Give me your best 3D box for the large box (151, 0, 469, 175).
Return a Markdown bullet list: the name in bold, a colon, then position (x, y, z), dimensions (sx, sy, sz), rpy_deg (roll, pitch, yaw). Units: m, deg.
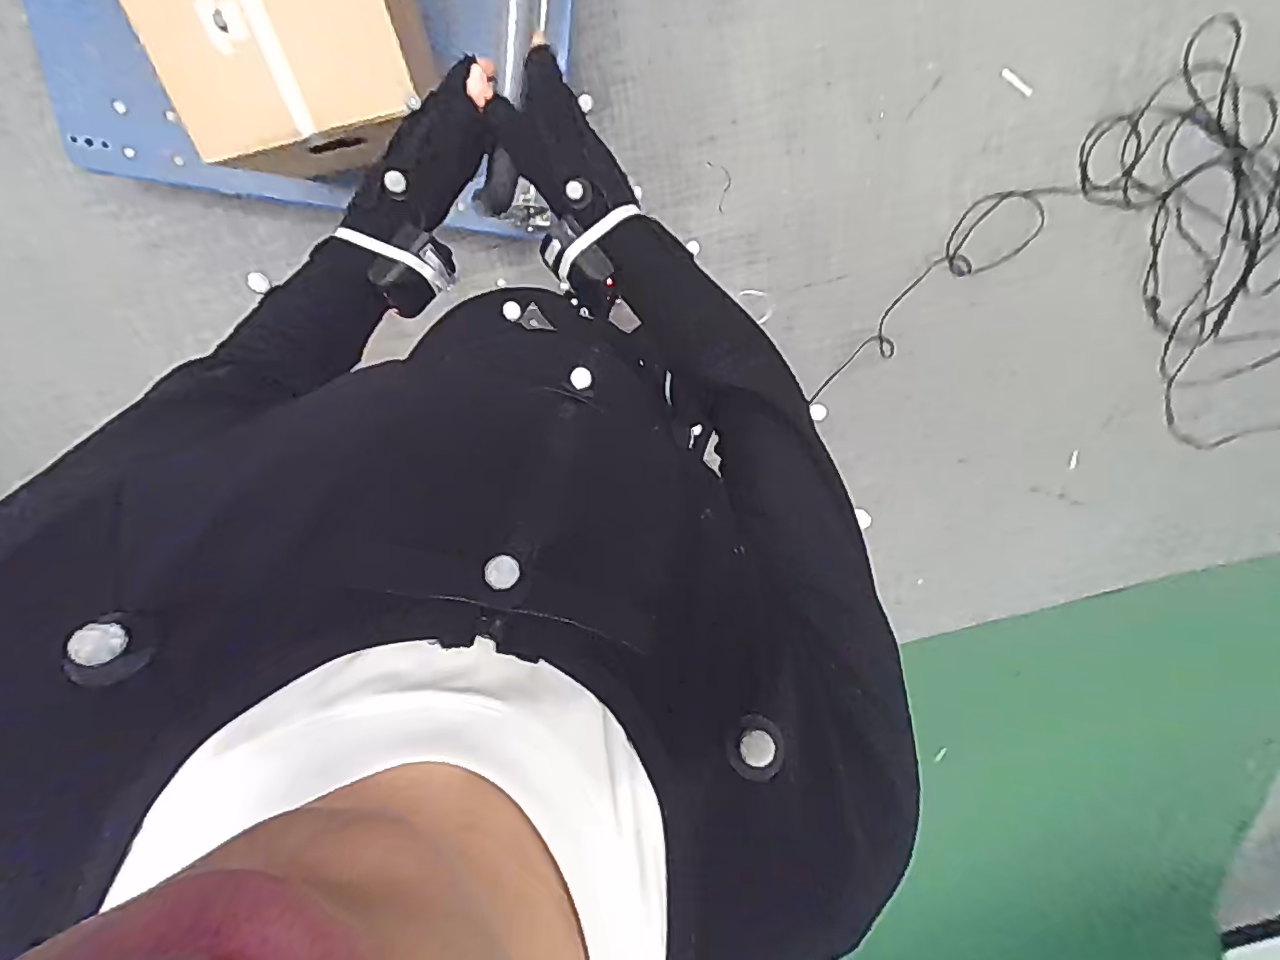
- **large box**: position (-0.497, -0.726, 0.811), dimensions (0.320, 0.320, 0.408), rpy_deg (-15, 117, 1)
